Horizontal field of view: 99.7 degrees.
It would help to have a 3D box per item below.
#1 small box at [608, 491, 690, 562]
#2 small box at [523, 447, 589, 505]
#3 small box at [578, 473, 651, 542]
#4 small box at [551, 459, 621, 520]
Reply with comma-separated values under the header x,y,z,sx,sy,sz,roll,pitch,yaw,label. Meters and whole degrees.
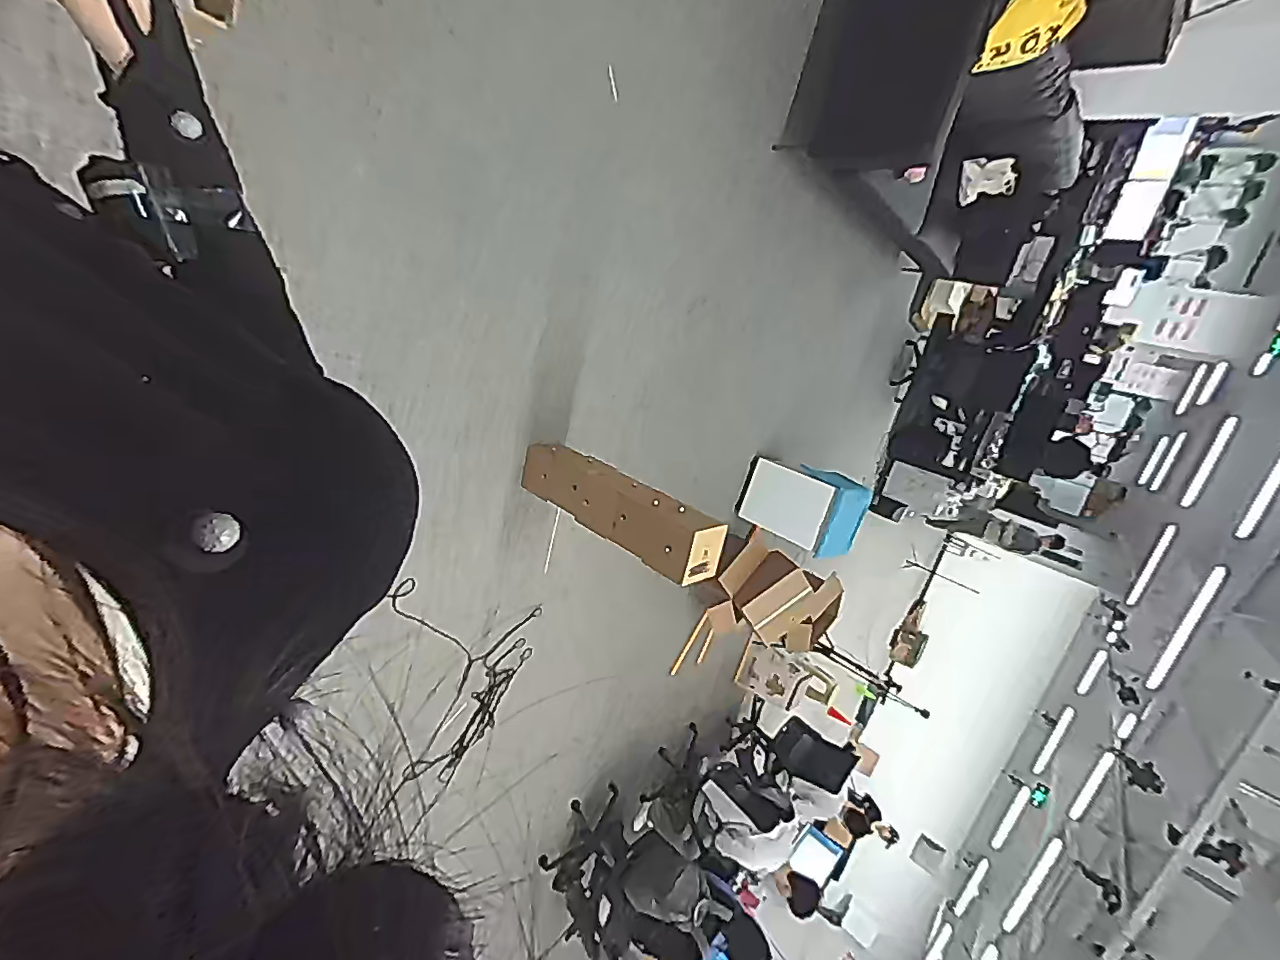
x,y,z,sx,sy,sz,roll,pitch,yaw,label
0.027,0.141,1.725,0.179,0.176,0.168,-5,113,-48,small box
-0.318,-0.020,2.034,0.168,0.176,0.179,-3,113,-49,small box
-0.090,0.089,1.826,0.168,0.176,0.179,-5,115,-48,small box
-0.196,0.028,1.934,0.168,0.176,0.179,-2,112,-49,small box
